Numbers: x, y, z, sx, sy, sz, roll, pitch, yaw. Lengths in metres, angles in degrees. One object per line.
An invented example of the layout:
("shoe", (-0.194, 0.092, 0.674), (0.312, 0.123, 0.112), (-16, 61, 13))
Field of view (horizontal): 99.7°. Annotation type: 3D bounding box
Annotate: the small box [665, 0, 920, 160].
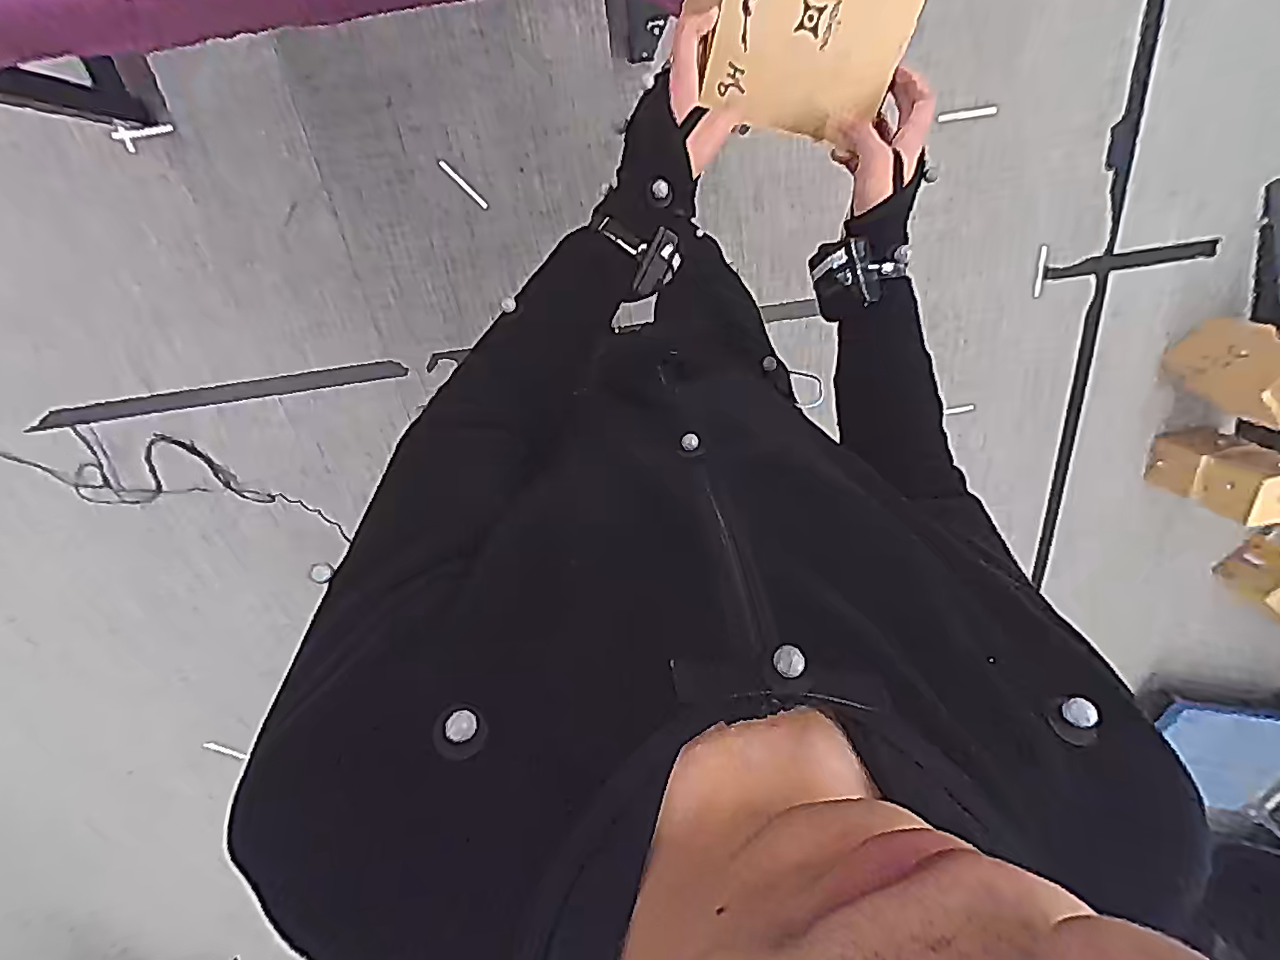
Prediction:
("small box", (0.137, -0.441, 0.529), (0.179, 0.176, 0.168), (5, 130, -14))
